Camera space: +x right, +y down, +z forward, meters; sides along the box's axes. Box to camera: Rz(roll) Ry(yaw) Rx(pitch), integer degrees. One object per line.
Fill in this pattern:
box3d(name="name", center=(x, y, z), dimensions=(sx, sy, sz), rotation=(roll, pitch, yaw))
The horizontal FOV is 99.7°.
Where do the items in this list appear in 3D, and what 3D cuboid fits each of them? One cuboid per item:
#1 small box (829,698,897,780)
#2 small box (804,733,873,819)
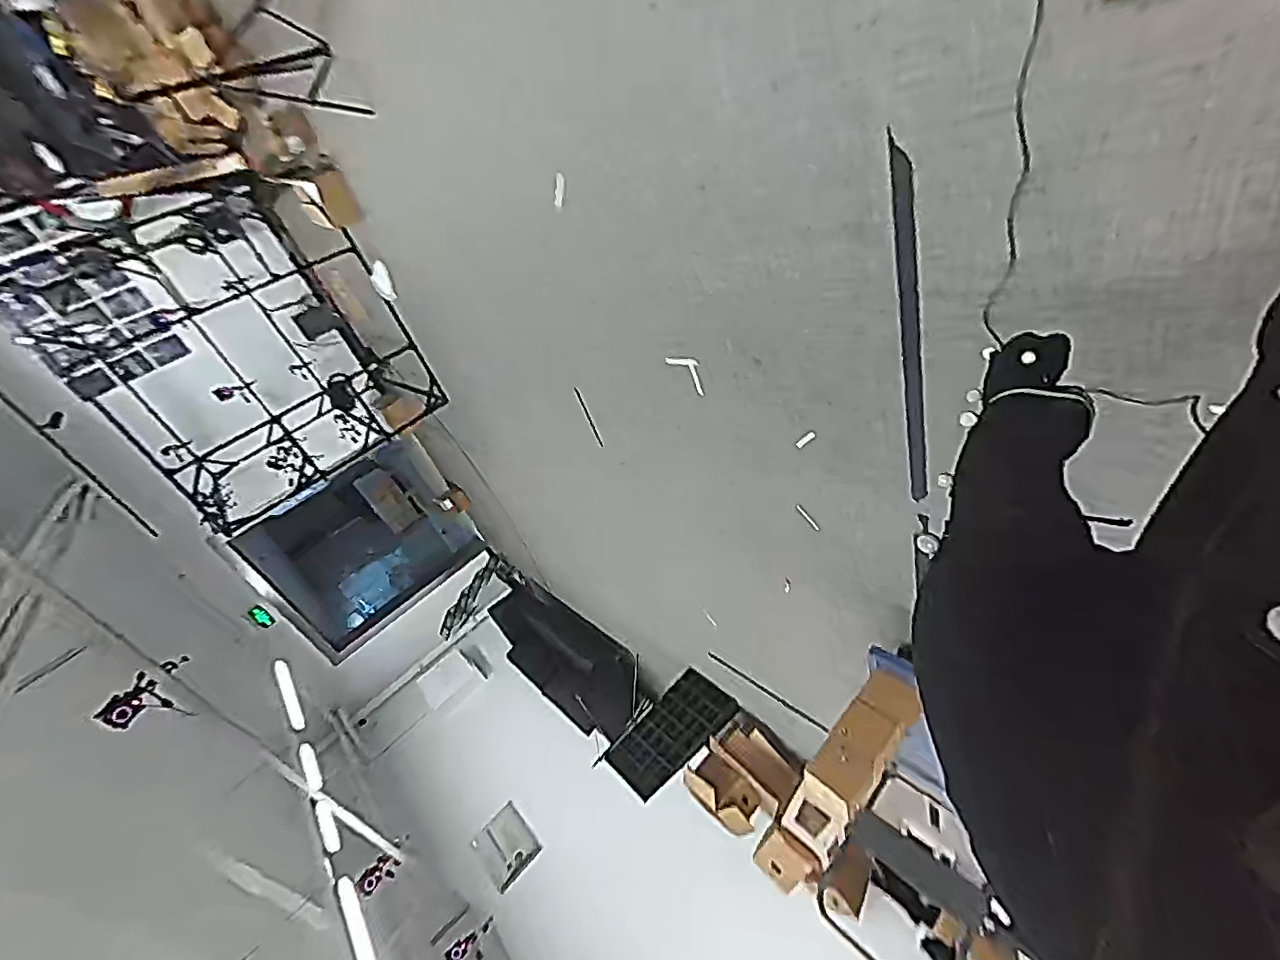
box3d(name="small box", center=(0.812, 0.934, 1.960), dimensions=(0.179, 0.176, 0.168), rotation=(26, 147, 43))
box3d(name="small box", center=(0.697, 1.033, 1.894), dimensions=(0.168, 0.176, 0.179), rotation=(27, 147, 42))
